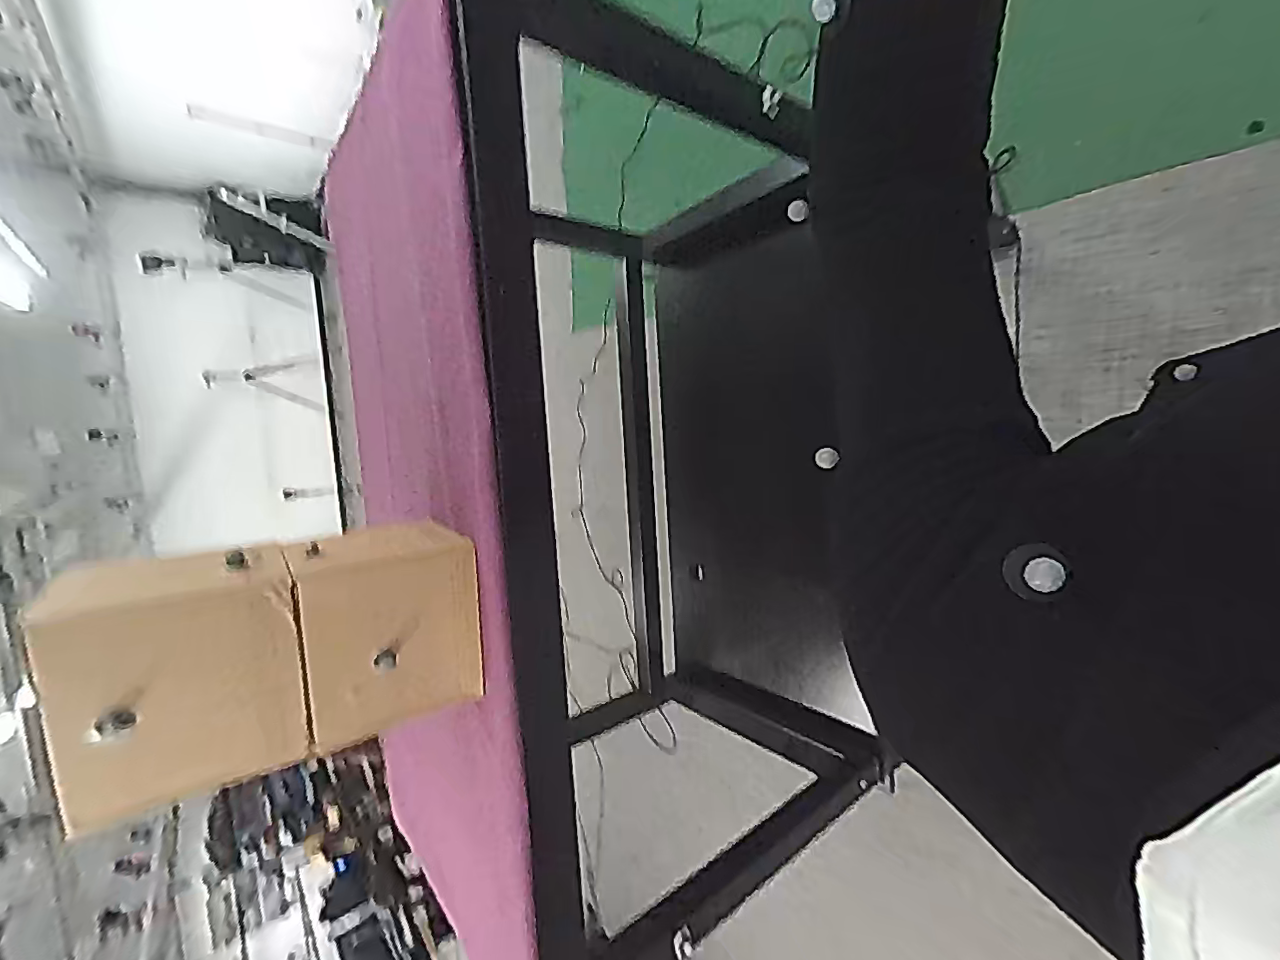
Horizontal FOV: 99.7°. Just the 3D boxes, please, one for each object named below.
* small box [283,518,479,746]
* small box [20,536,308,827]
[{"bbox_3d":[-0.289,0.150,0.604,0.168,0.176,0.179,8,102,52],"label":"small box"},{"bbox_3d":[-0.419,0.162,0.506,0.168,0.176,0.179,11,103,51],"label":"small box"}]
